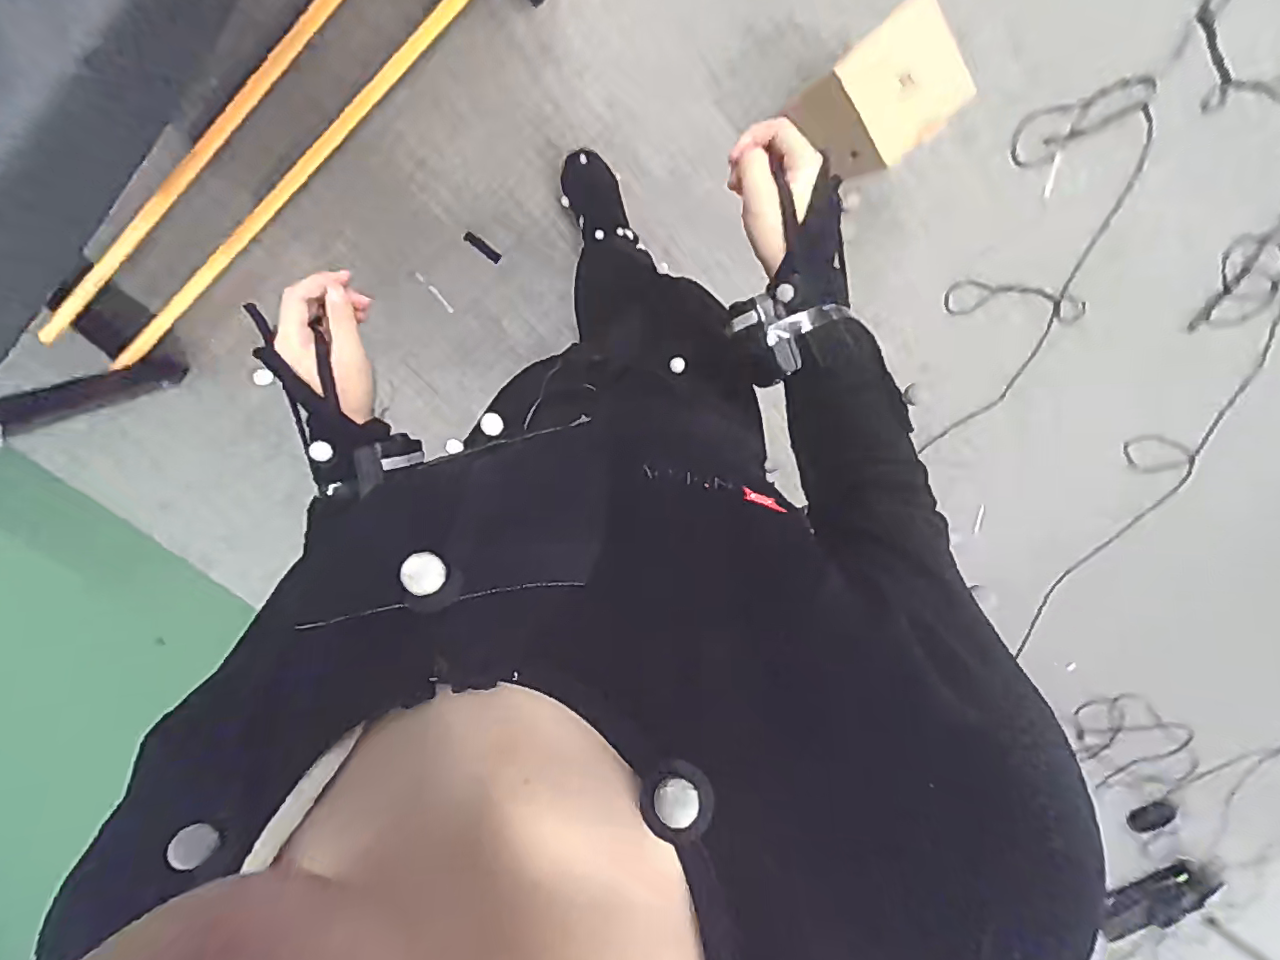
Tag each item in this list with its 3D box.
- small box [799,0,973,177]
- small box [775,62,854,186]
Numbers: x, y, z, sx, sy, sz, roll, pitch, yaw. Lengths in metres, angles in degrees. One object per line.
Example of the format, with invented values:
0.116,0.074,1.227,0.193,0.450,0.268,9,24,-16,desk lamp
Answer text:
0.399,-0.637,0.902,0.168,0.176,0.179,-40,109,11,small box
0.393,-0.701,1.052,0.168,0.176,0.179,-36,112,11,small box
